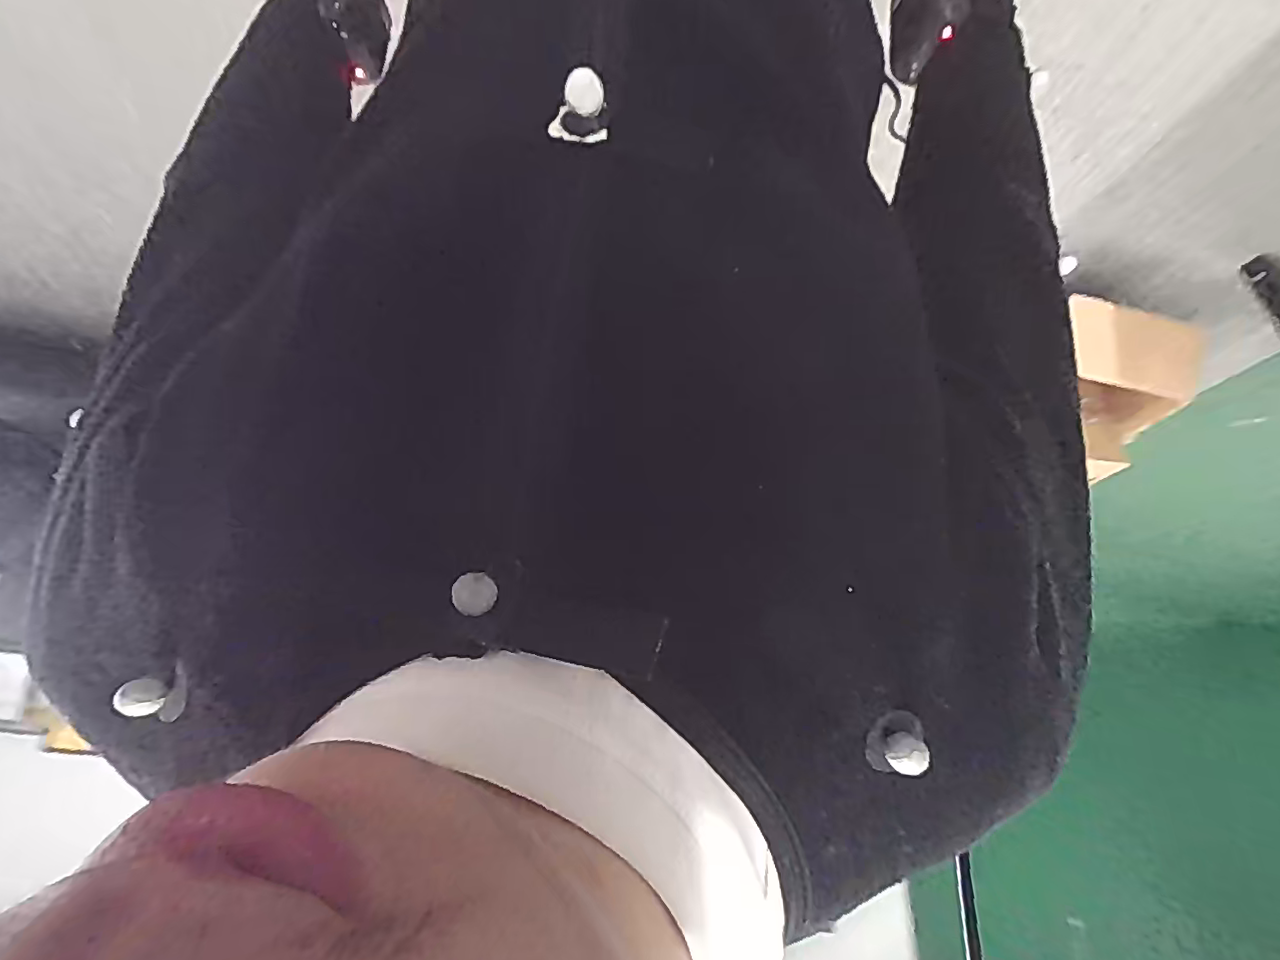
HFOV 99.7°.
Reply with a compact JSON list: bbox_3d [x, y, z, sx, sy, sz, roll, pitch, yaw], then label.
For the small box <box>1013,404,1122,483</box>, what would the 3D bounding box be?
[{"bbox_3d":[1.266,-0.111,1.617,0.179,0.176,0.168,6,152,-3],"label":"small box"}]
